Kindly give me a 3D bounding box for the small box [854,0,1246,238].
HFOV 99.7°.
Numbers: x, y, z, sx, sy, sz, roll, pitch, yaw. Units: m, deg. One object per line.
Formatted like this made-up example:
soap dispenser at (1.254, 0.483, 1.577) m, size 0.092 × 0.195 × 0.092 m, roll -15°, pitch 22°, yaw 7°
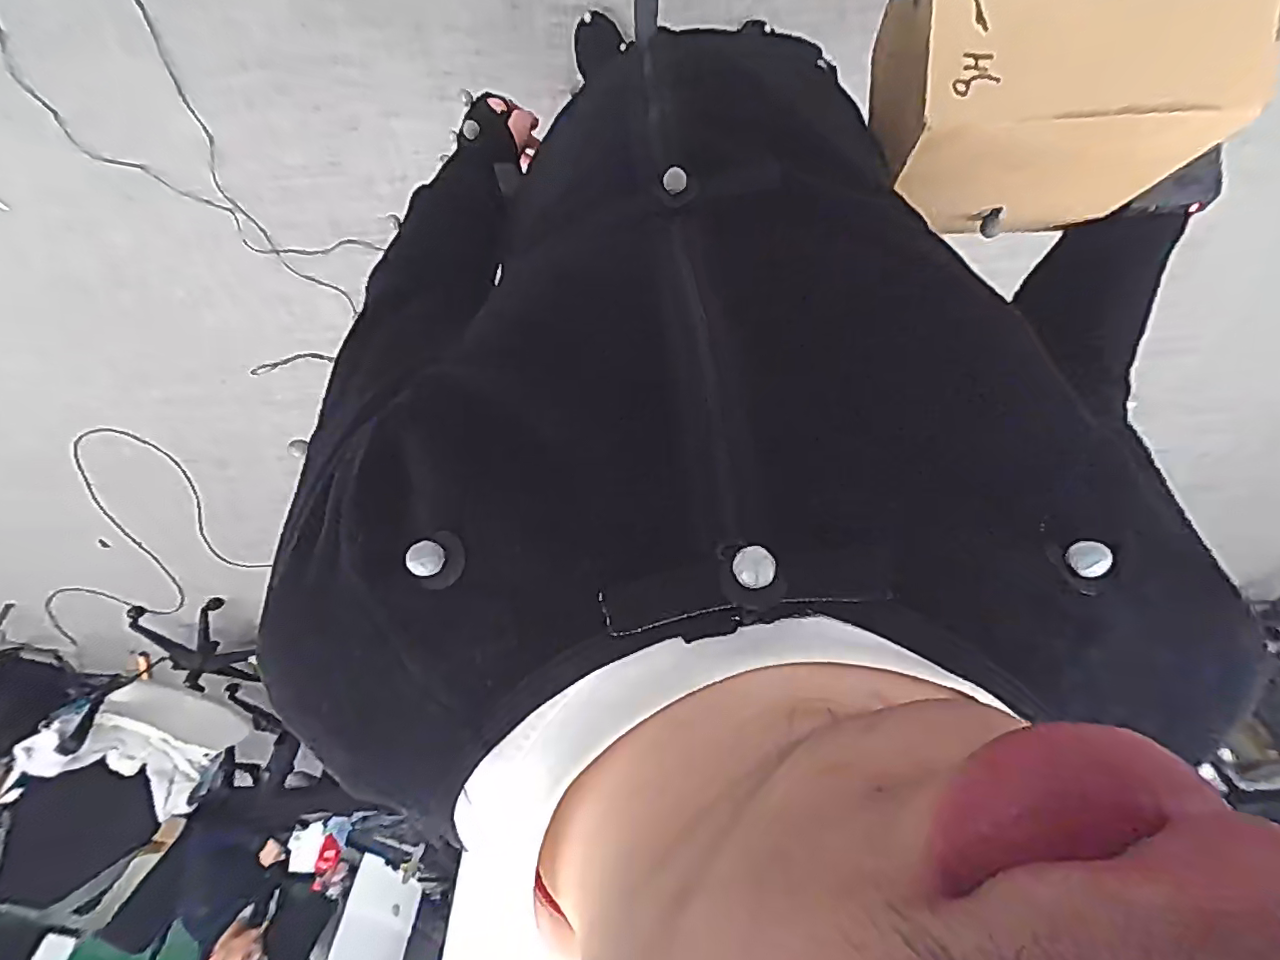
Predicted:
small box at (0.272, -0.292, 0.397) m, size 0.179 × 0.176 × 0.168 m, roll 3°, pitch 93°, yaw 10°
